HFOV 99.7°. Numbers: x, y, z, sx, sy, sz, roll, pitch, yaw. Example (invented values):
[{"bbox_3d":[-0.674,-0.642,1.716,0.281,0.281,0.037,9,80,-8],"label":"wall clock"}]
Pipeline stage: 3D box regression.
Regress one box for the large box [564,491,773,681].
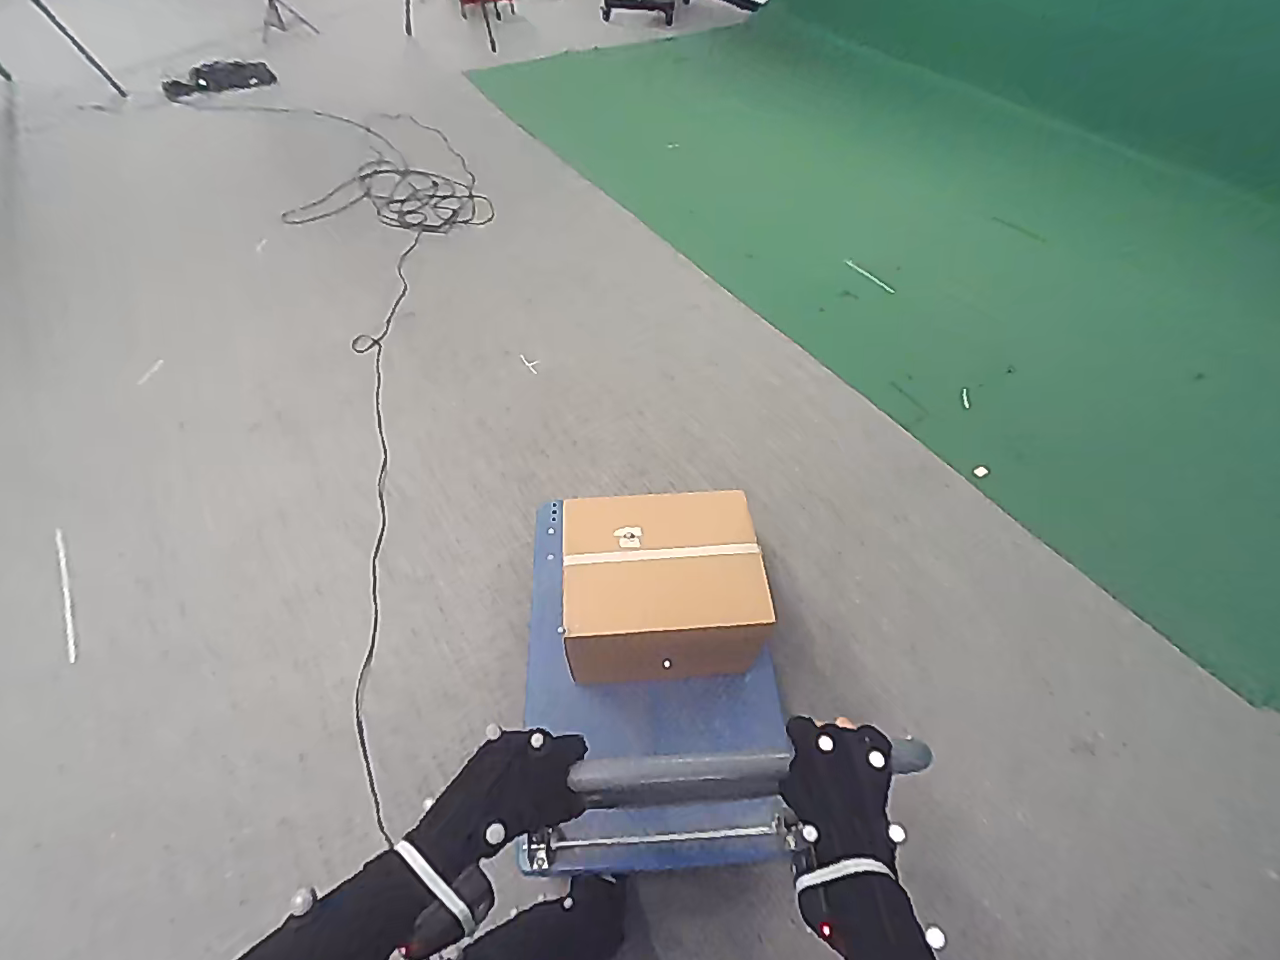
[{"bbox_3d":[0.045,0.248,1.232,0.408,0.320,0.320,-3,54,-4],"label":"large box"}]
